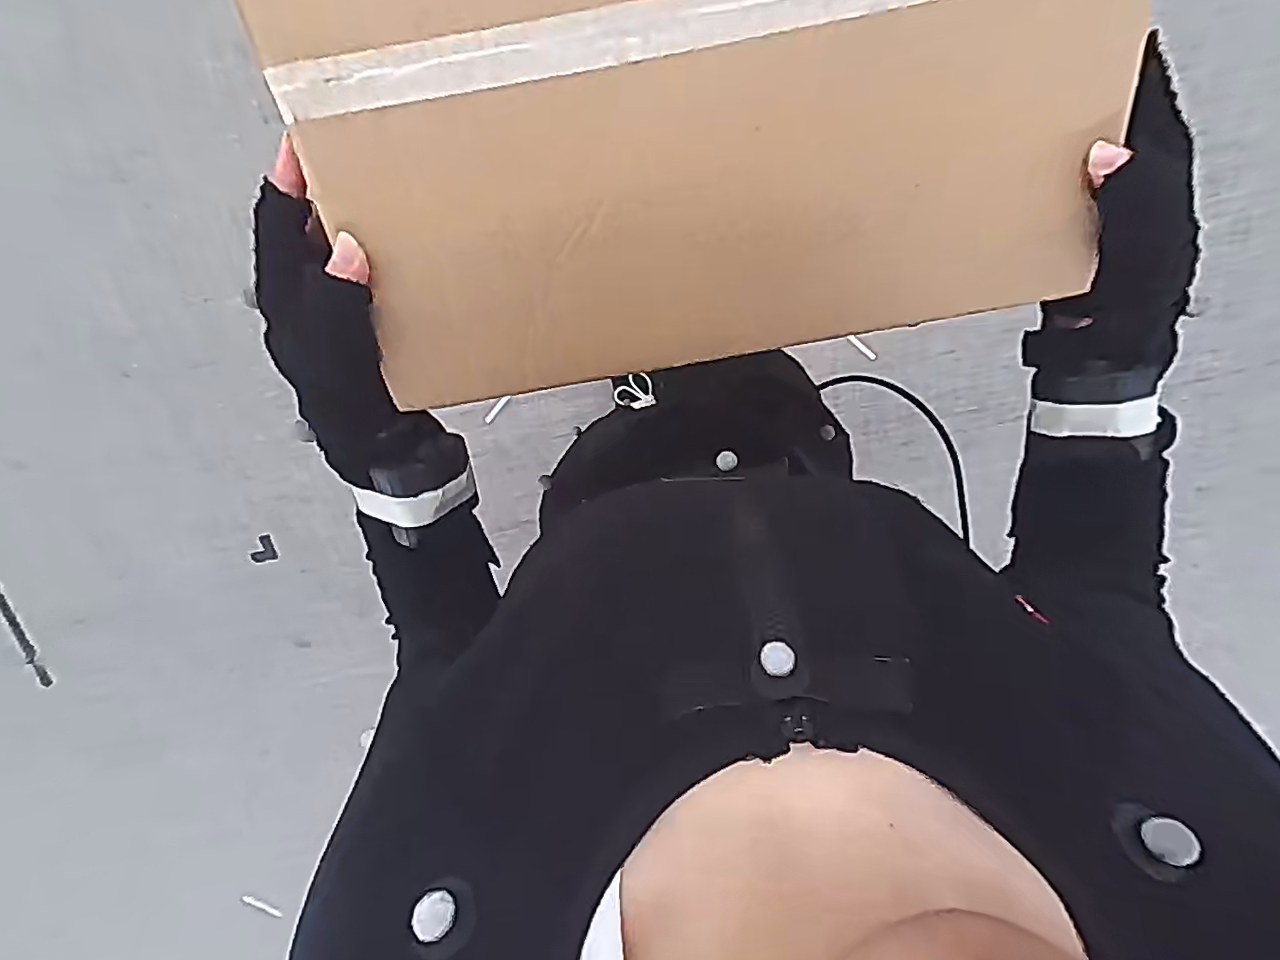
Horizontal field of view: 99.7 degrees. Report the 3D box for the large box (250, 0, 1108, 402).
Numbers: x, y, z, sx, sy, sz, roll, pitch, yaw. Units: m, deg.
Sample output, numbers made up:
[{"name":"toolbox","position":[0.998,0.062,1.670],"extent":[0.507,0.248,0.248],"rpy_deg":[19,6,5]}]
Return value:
[{"name":"large box","position":[0.019,-0.284,0.385],"extent":[0.408,0.320,0.320],"rpy_deg":[-10,117,1]}]
